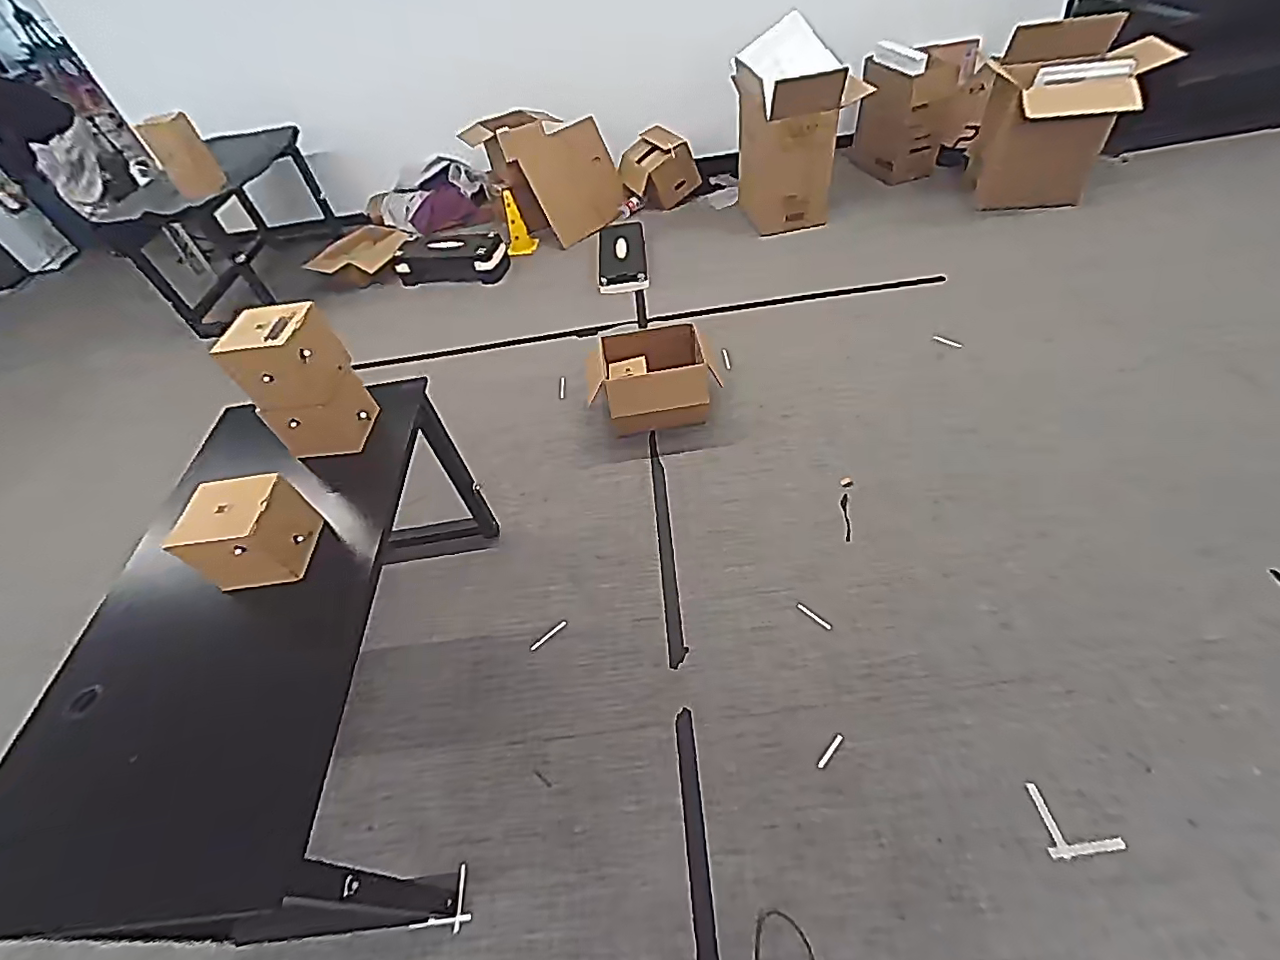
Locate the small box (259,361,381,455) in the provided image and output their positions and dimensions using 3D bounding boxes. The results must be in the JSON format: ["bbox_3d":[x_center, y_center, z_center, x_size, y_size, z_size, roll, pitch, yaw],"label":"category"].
[{"bbox_3d":[-0.799,-0.178,1.371,0.179,0.176,0.168,-4,50,6],"label":"small box"}]

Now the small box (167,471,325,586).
[{"bbox_3d":[-0.808,0.107,1.132,0.179,0.176,0.168,-8,49,2],"label":"small box"}]
